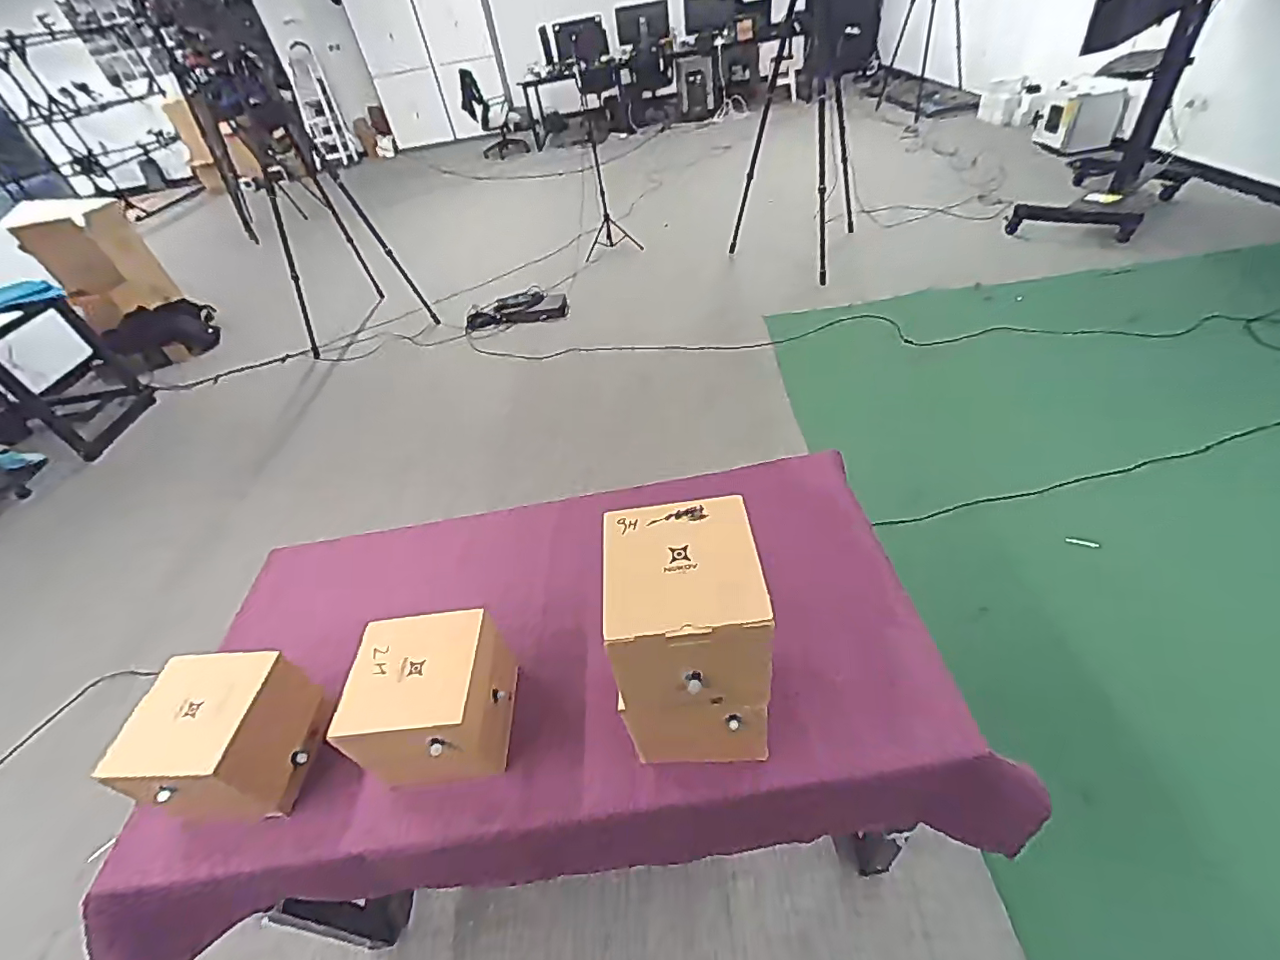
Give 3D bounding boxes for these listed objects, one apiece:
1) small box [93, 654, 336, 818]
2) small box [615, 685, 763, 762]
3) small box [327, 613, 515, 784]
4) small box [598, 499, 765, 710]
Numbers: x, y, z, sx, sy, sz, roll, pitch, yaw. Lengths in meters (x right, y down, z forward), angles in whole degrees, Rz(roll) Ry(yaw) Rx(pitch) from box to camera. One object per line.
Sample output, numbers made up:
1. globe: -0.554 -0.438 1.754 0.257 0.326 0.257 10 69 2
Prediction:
1. small box: -0.586 0.369 0.775 0.179 0.176 0.168 -4 43 7
2. small box: 0.071 0.269 0.738 0.179 0.176 0.168 -5 43 7
3. small box: -0.291 0.313 0.769 0.179 0.176 0.168 -8 42 4
4. small box: 0.049 0.150 0.627 0.168 0.176 0.179 -7 43 4
